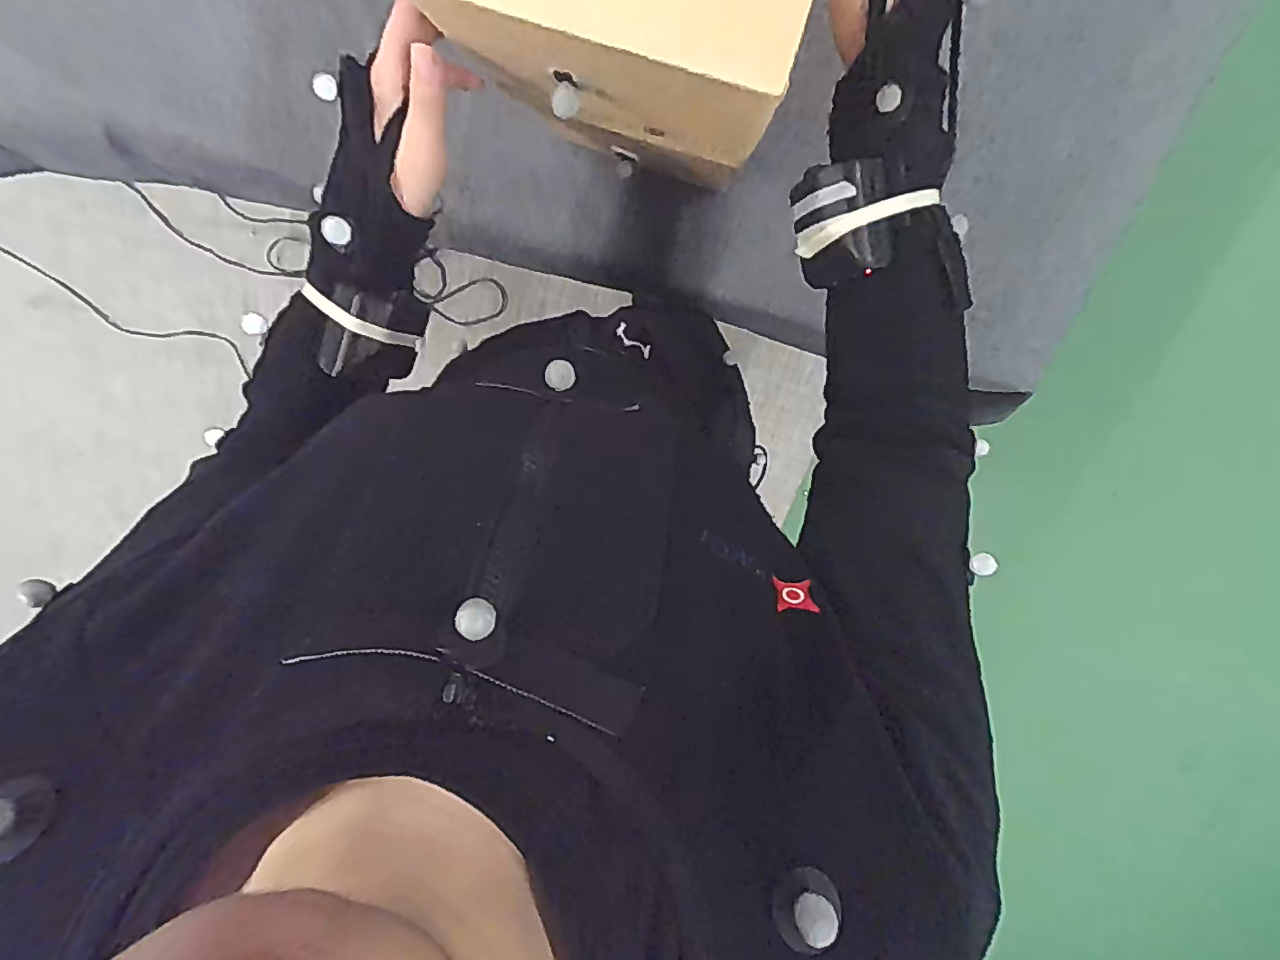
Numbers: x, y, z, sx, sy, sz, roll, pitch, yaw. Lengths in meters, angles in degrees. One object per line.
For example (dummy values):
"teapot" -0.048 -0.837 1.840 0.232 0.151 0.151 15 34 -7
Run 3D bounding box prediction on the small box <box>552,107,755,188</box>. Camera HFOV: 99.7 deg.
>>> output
"small box" 0.025 -0.342 0.401 0.168 0.176 0.179 17 113 -2

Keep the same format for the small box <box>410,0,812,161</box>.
"small box" 0.008 -0.276 0.253 0.168 0.176 0.179 16 111 -2
